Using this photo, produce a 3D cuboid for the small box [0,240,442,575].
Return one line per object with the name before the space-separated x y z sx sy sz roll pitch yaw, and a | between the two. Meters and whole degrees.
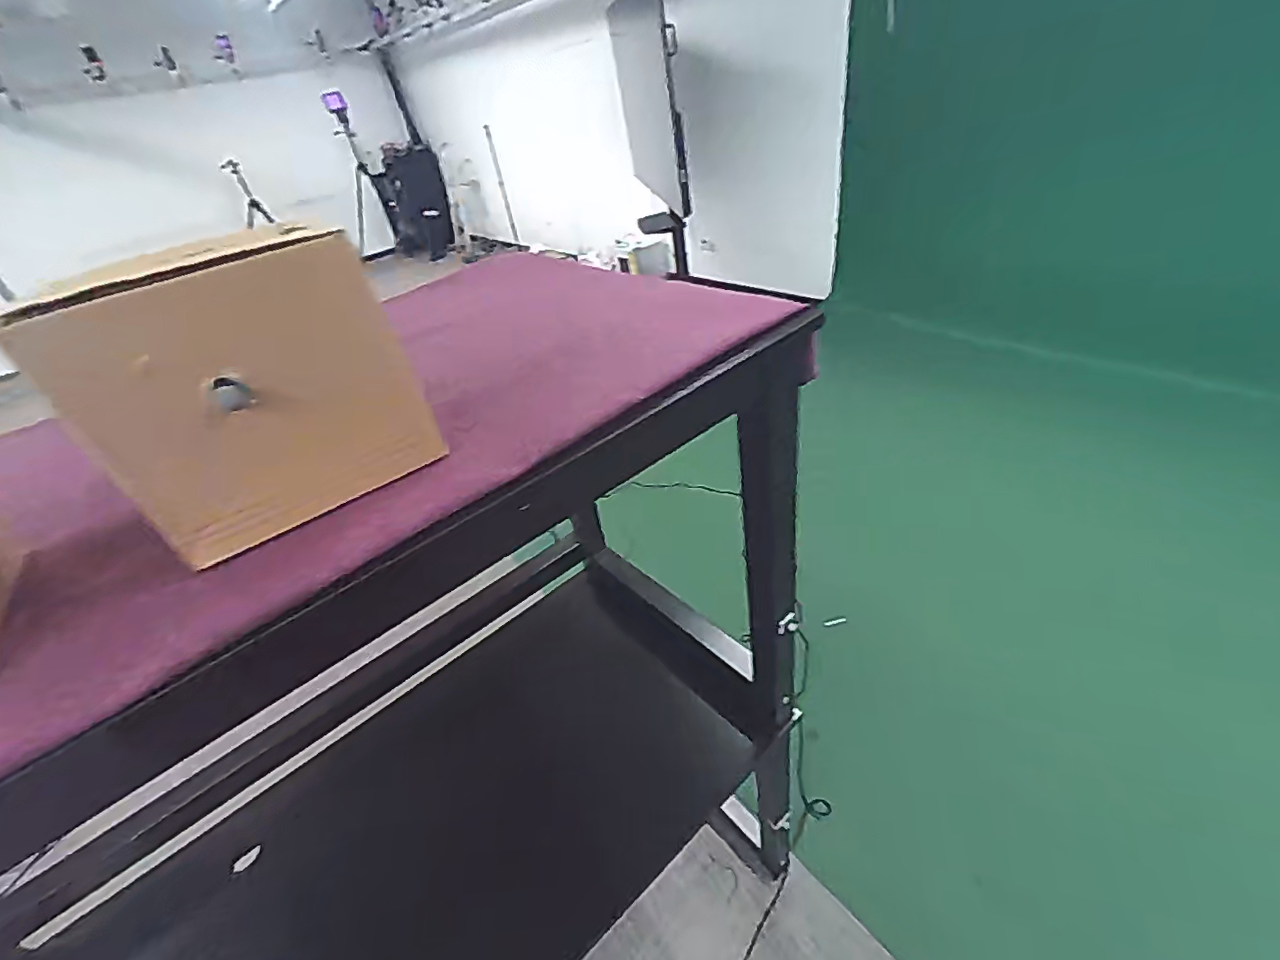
small box | -0.282 -0.062 0.404 0.179 0.176 0.168 -32 40 -23
